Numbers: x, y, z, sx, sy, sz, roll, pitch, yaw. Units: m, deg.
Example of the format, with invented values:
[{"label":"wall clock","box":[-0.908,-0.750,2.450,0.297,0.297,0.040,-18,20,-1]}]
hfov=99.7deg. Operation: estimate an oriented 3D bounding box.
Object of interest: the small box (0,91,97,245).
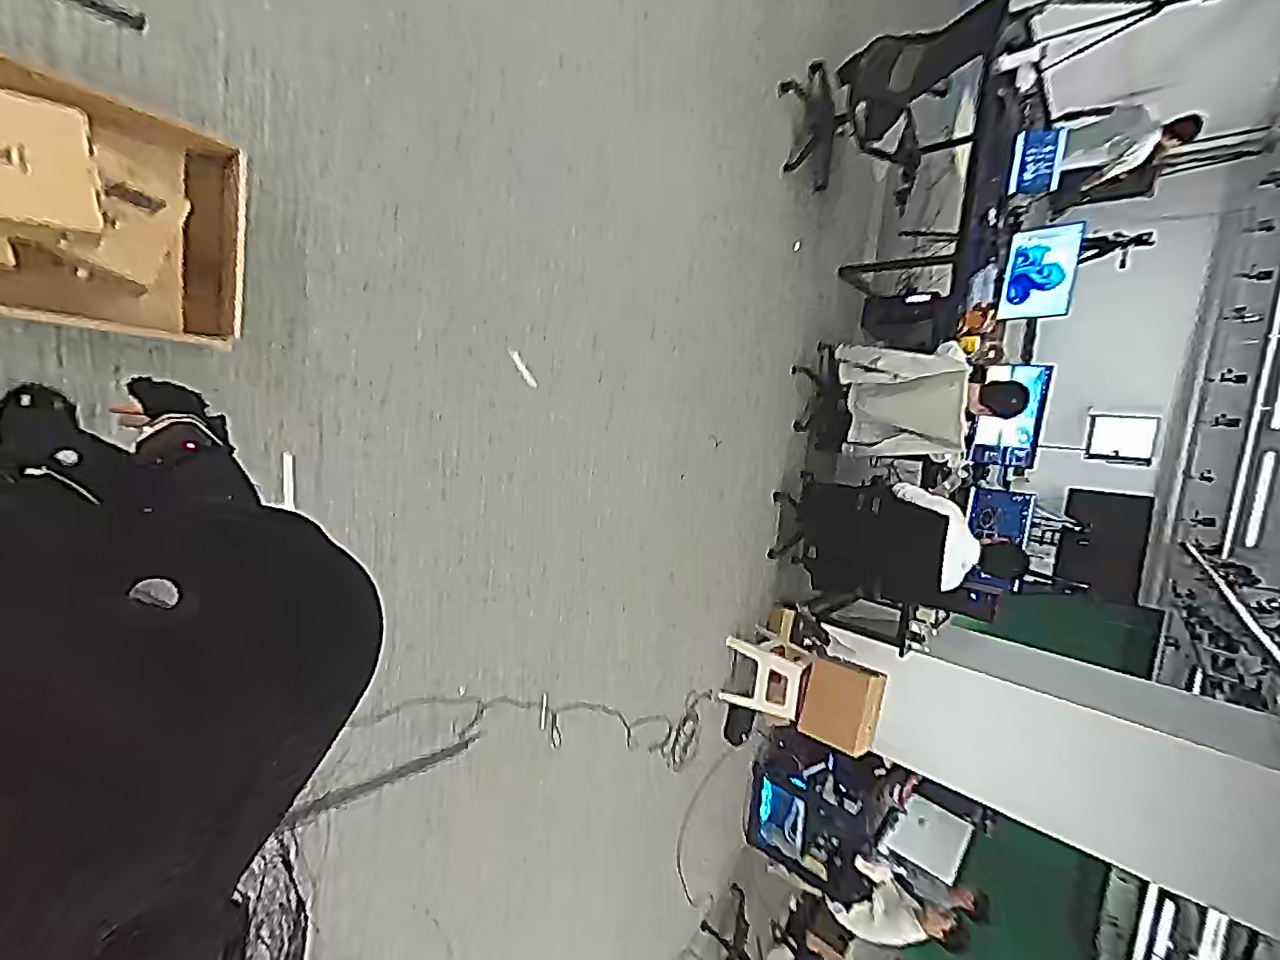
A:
[{"label":"small box","box":[-0.919,-0.444,0.772,0.179,0.176,0.168,-11,105,-47]}]
